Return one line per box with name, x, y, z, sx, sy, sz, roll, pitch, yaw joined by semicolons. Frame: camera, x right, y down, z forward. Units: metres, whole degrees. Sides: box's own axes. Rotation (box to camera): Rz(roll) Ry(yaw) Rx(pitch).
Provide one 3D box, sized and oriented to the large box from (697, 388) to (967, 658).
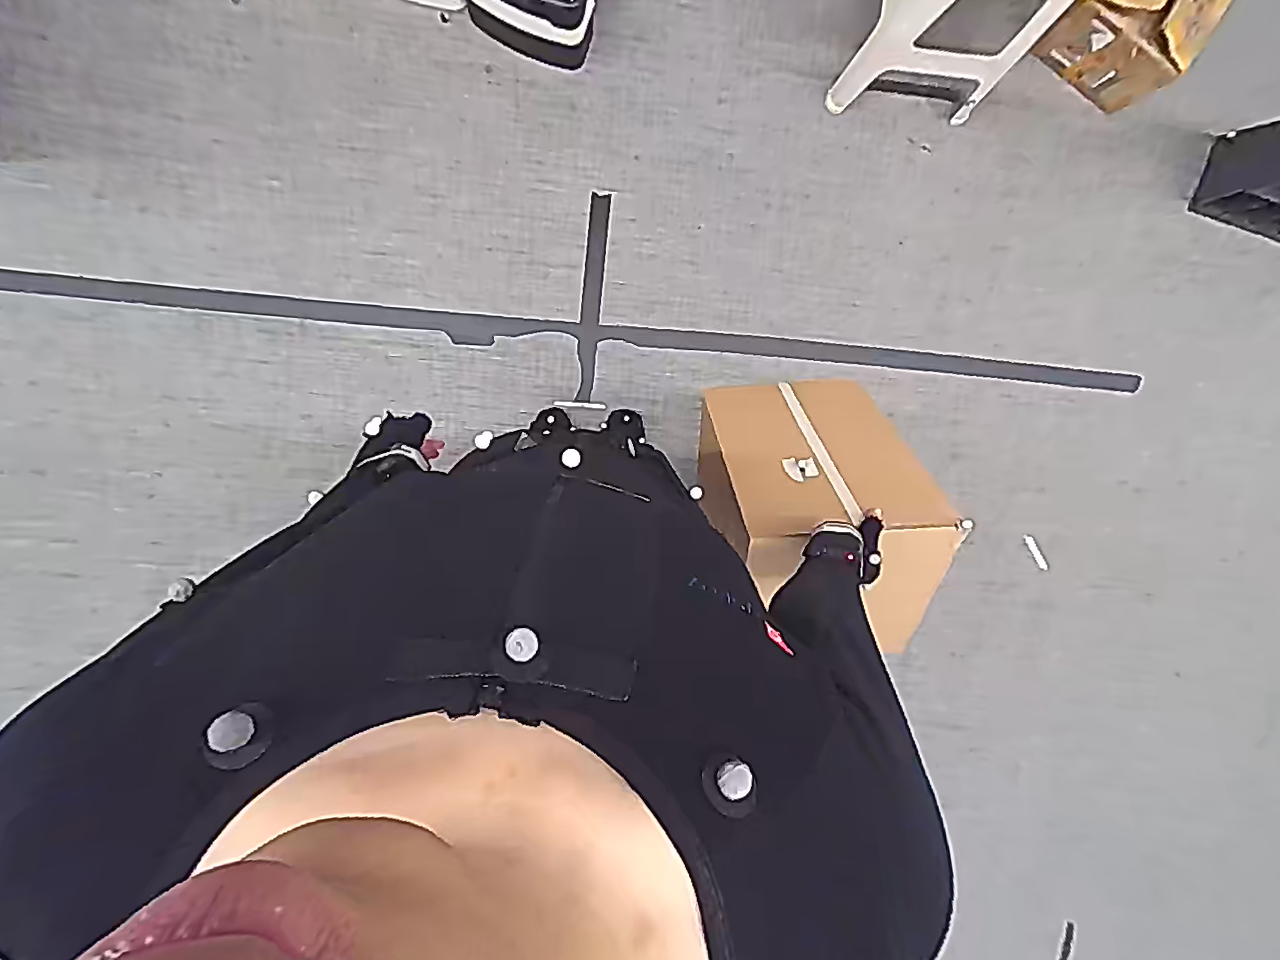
large box;0.299;0.066;1.008;0.320;0.408;0.320;-4;131;-3
